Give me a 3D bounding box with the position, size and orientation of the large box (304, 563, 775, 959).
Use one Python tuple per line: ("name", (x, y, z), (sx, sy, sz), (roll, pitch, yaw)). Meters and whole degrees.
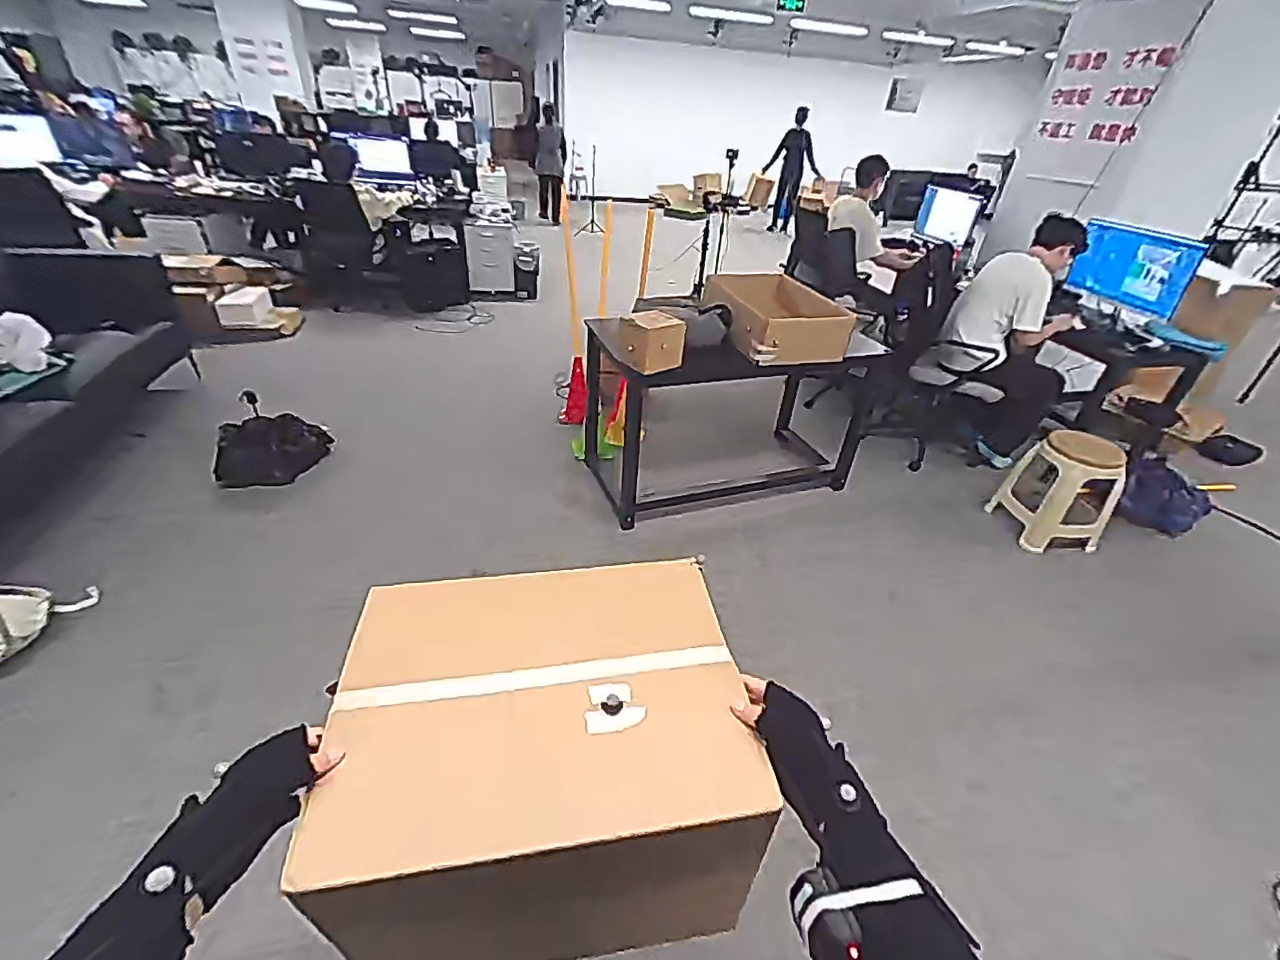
("large box", (-0.103, 0.333, 0.657), (0.408, 0.320, 0.320), (-3, 37, -9))
